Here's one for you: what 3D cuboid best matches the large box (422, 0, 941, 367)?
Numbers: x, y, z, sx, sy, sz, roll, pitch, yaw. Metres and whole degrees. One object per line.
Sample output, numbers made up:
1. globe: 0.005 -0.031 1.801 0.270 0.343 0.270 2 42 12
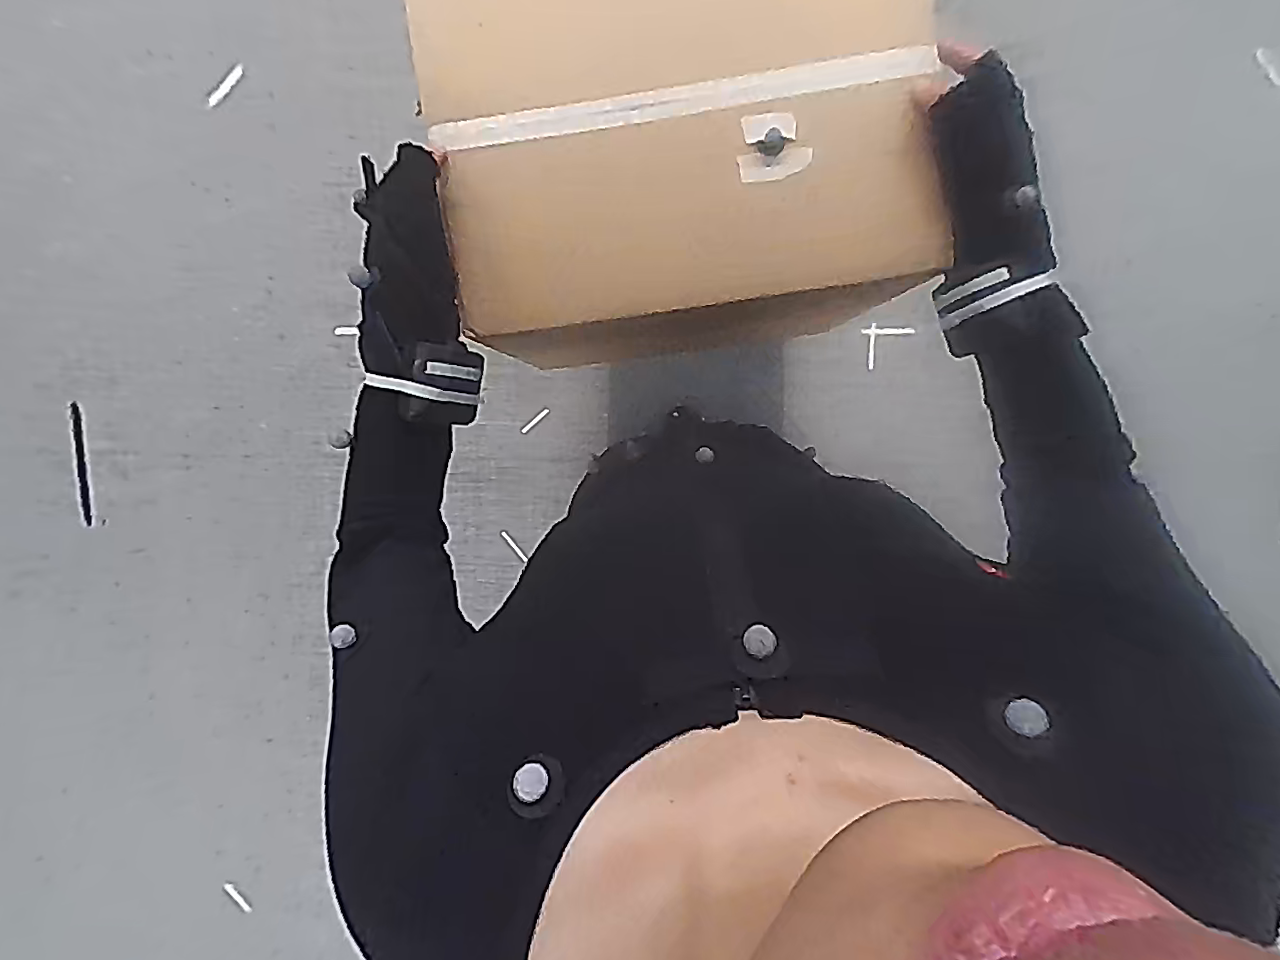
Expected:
1. large box: 0.036 -0.320 0.590 0.408 0.320 0.320 -7 96 1
